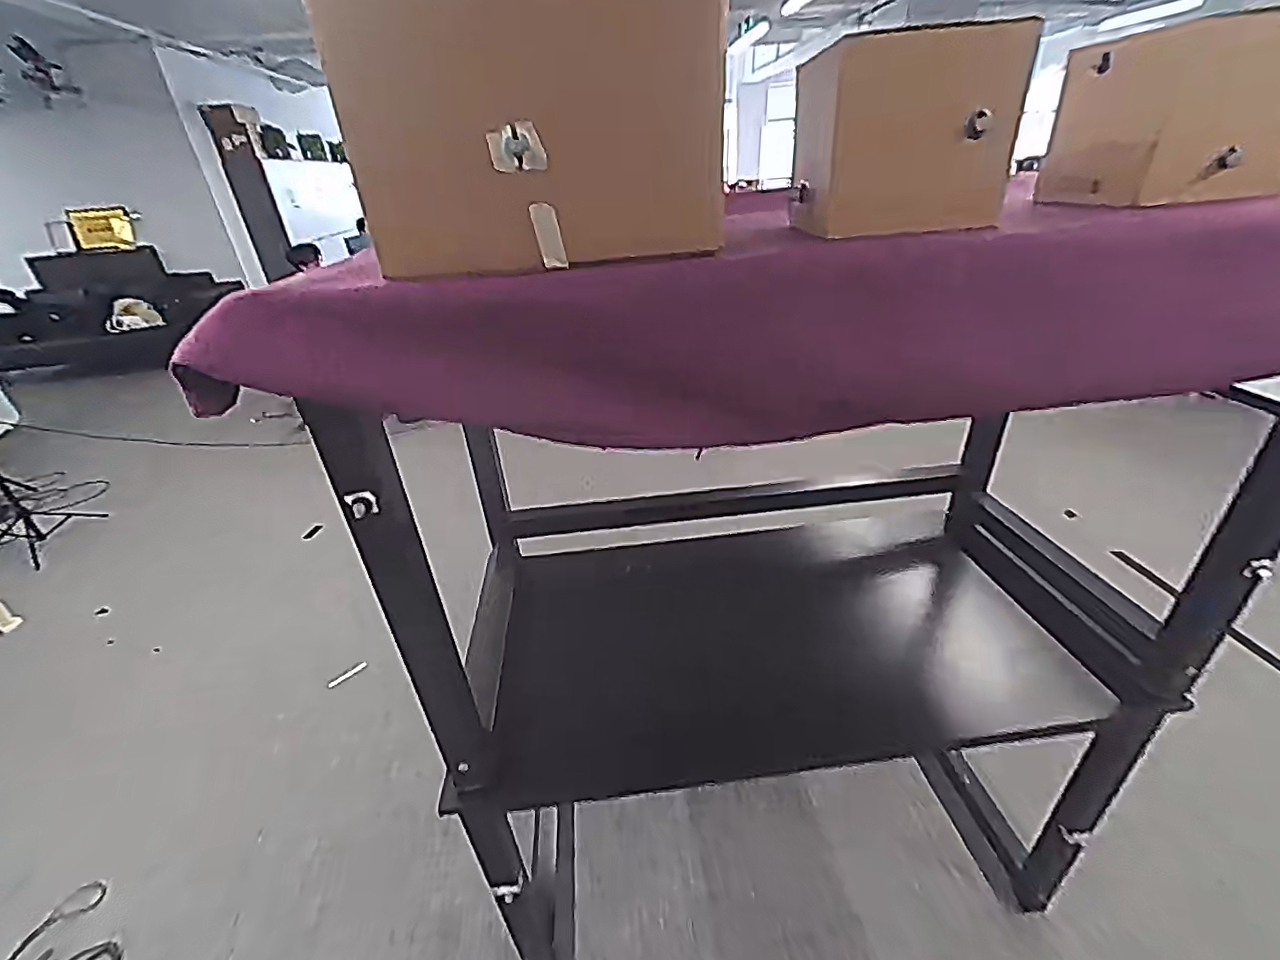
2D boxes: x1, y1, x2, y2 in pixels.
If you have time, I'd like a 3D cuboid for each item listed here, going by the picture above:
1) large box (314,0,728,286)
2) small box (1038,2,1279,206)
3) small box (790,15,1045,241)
[{"bbox_3d":[-0.110,-0.408,0.580,0.320,0.320,0.408,-7,29,-6],"label":"large box"},{"bbox_3d":[0.612,-0.419,0.622,0.179,0.176,0.168,-6,29,-2],"label":"small box"},{"bbox_3d":[0.267,-0.358,0.571,0.179,0.176,0.168,-4,29,2],"label":"small box"}]
